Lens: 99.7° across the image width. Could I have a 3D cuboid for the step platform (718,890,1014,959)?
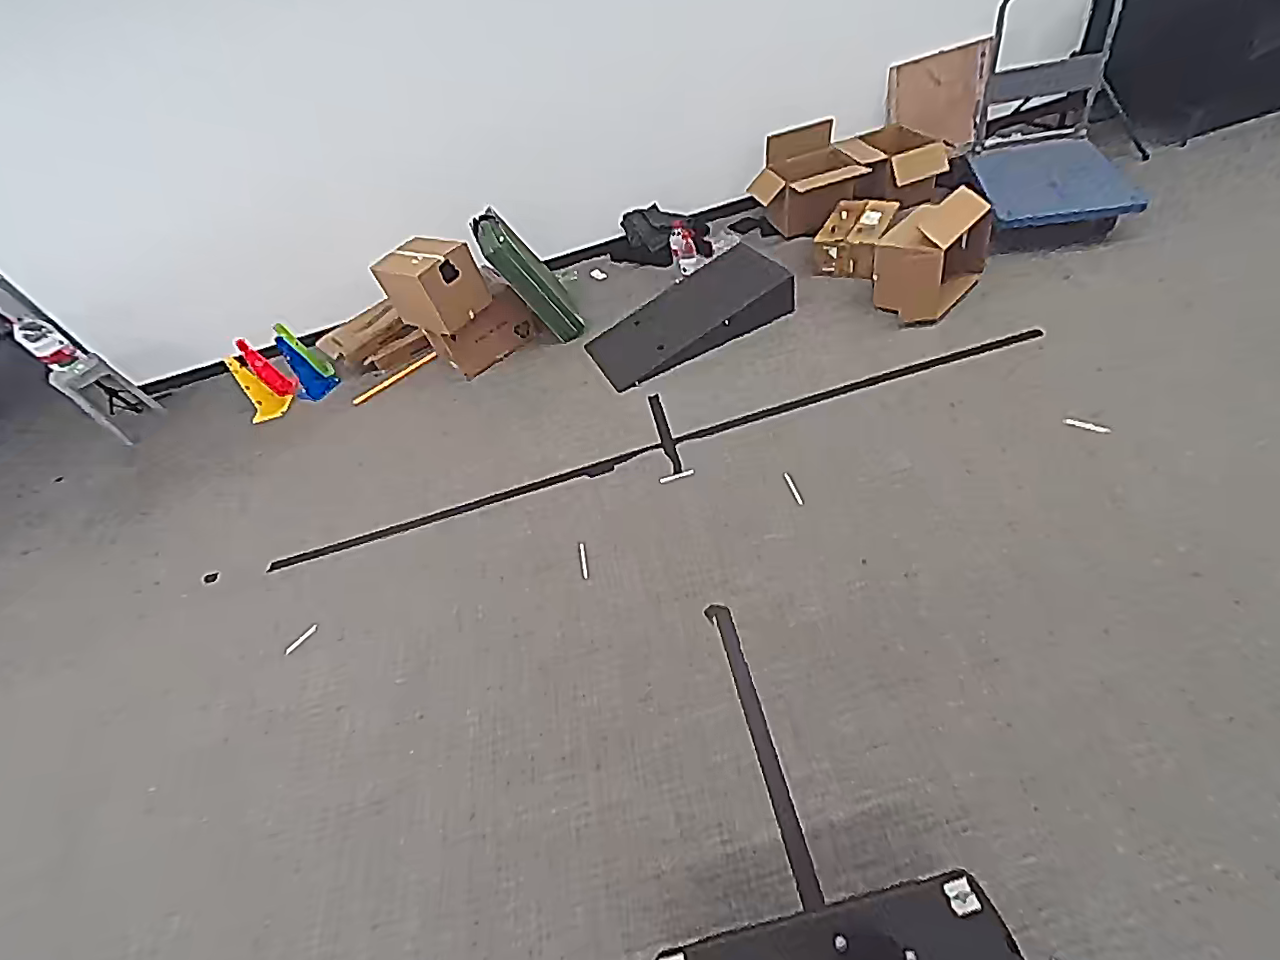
[{"bbox_3d":[0.368,1.016,0.997,0.684,0.204,0.286,-17,46,0],"label":"step platform"}]
